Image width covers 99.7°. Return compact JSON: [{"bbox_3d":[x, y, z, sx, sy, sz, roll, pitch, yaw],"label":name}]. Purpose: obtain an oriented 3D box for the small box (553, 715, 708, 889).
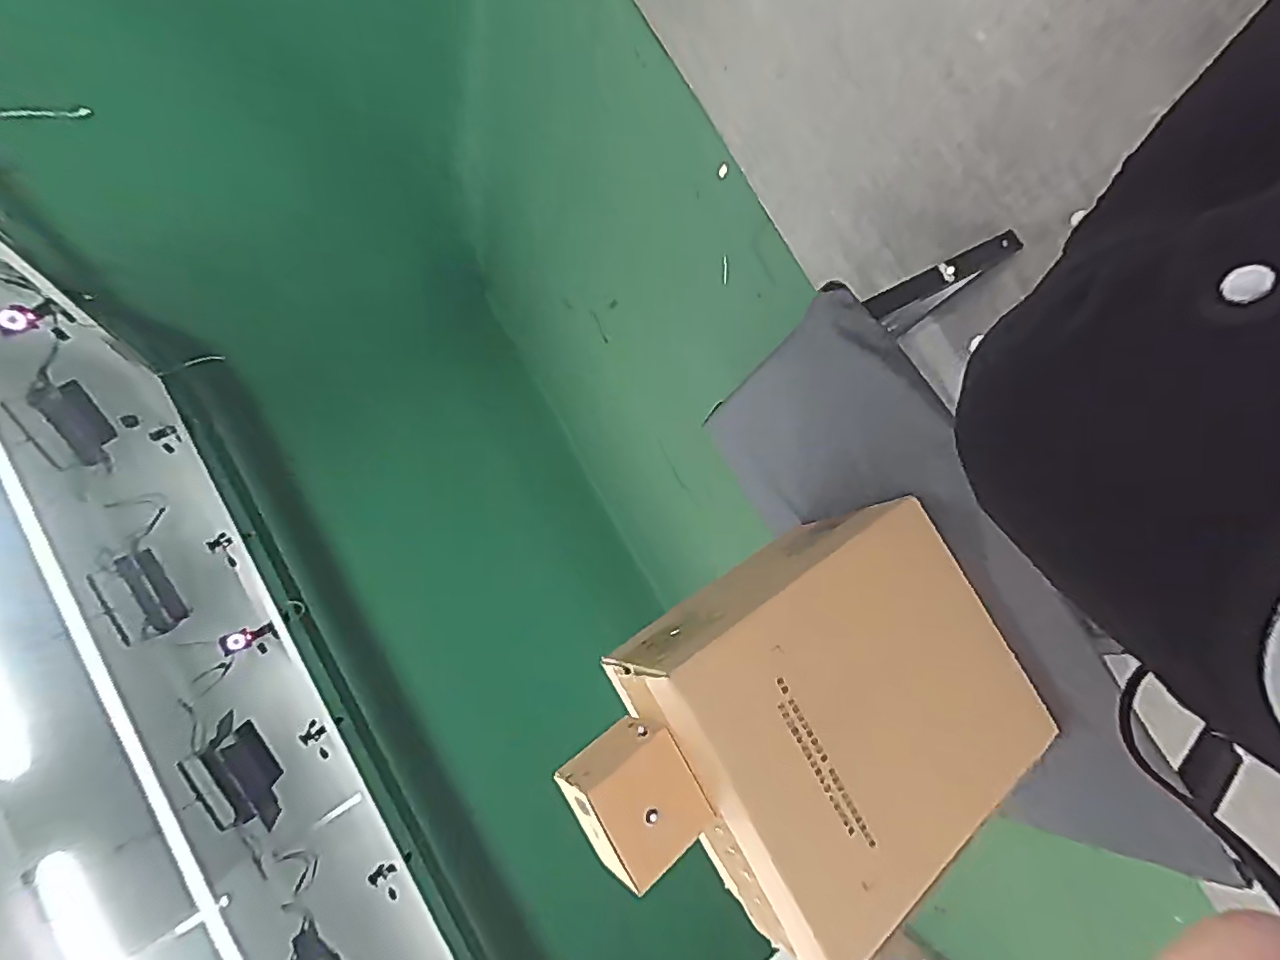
[{"bbox_3d":[-0.018,0.532,0.927,0.179,0.176,0.168,60,150,2],"label":"small box"}]
